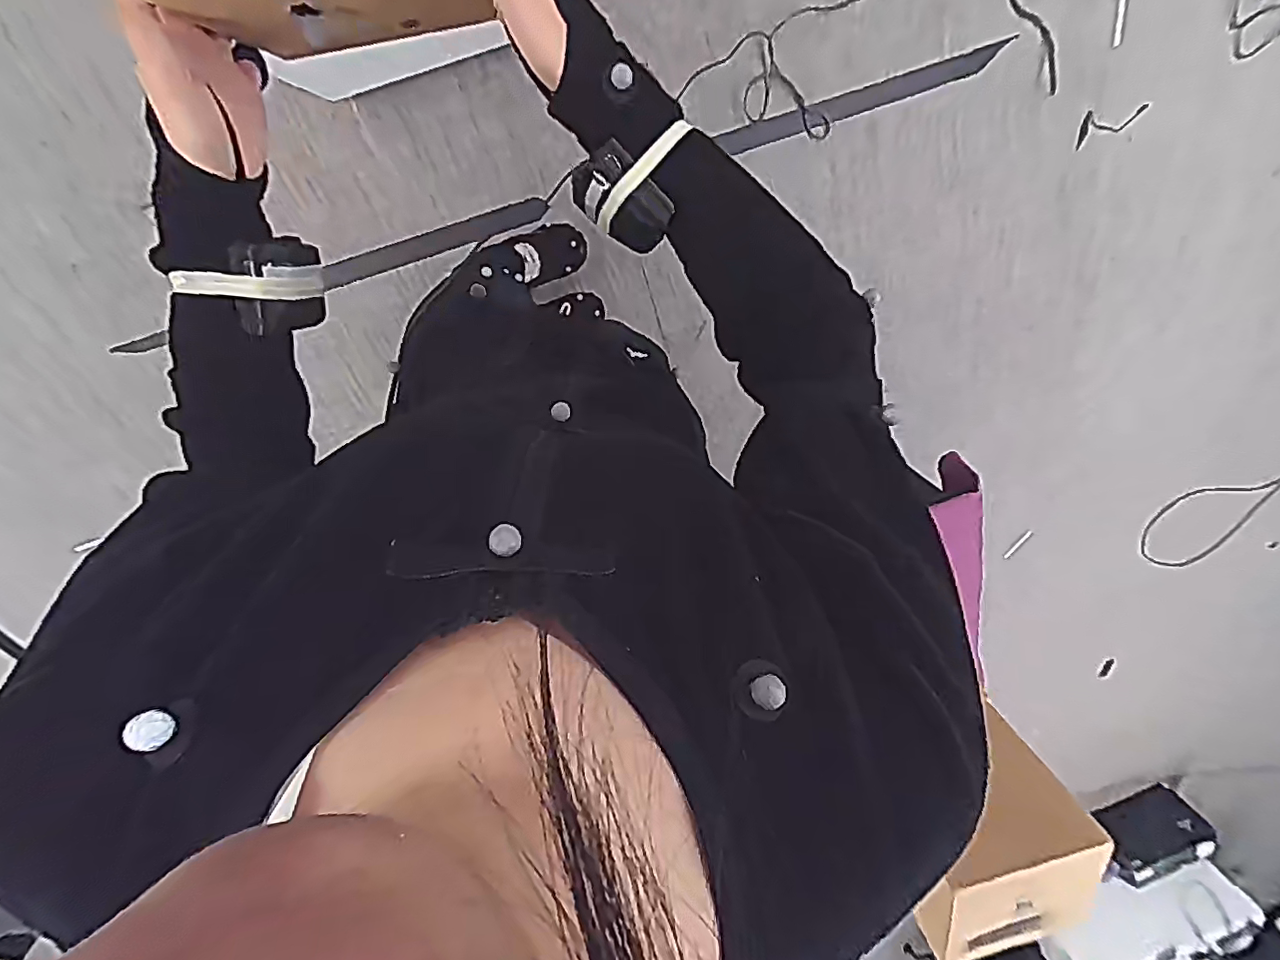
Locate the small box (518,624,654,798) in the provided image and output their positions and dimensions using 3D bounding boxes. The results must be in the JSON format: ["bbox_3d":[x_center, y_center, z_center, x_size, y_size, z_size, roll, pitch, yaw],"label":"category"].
[{"bbox_3d":[-0.090,0.372,0.888,0.168,0.176,0.179,-20,118,-2],"label":"small box"}]

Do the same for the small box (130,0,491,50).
[{"bbox_3d":[-0.191,-0.358,0.287,0.168,0.176,0.179,-11,118,1],"label":"small box"}]
